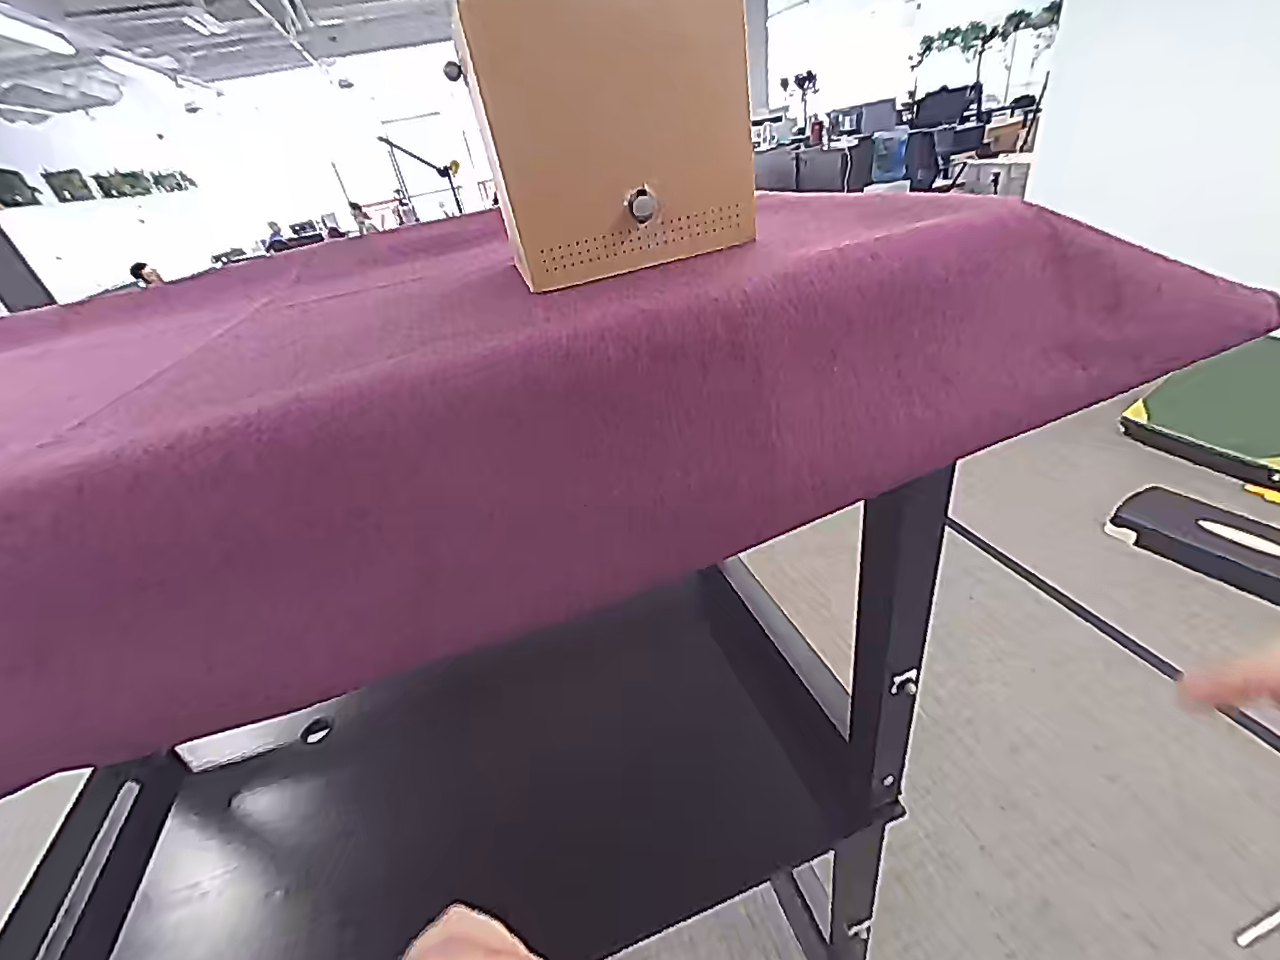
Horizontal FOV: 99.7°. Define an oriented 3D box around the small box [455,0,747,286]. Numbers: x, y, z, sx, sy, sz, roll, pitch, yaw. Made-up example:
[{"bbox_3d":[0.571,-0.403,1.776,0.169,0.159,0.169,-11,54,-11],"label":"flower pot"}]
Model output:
[{"bbox_3d":[-0.029,-0.264,0.417,0.179,0.176,0.168,-17,32,-9],"label":"small box"}]
